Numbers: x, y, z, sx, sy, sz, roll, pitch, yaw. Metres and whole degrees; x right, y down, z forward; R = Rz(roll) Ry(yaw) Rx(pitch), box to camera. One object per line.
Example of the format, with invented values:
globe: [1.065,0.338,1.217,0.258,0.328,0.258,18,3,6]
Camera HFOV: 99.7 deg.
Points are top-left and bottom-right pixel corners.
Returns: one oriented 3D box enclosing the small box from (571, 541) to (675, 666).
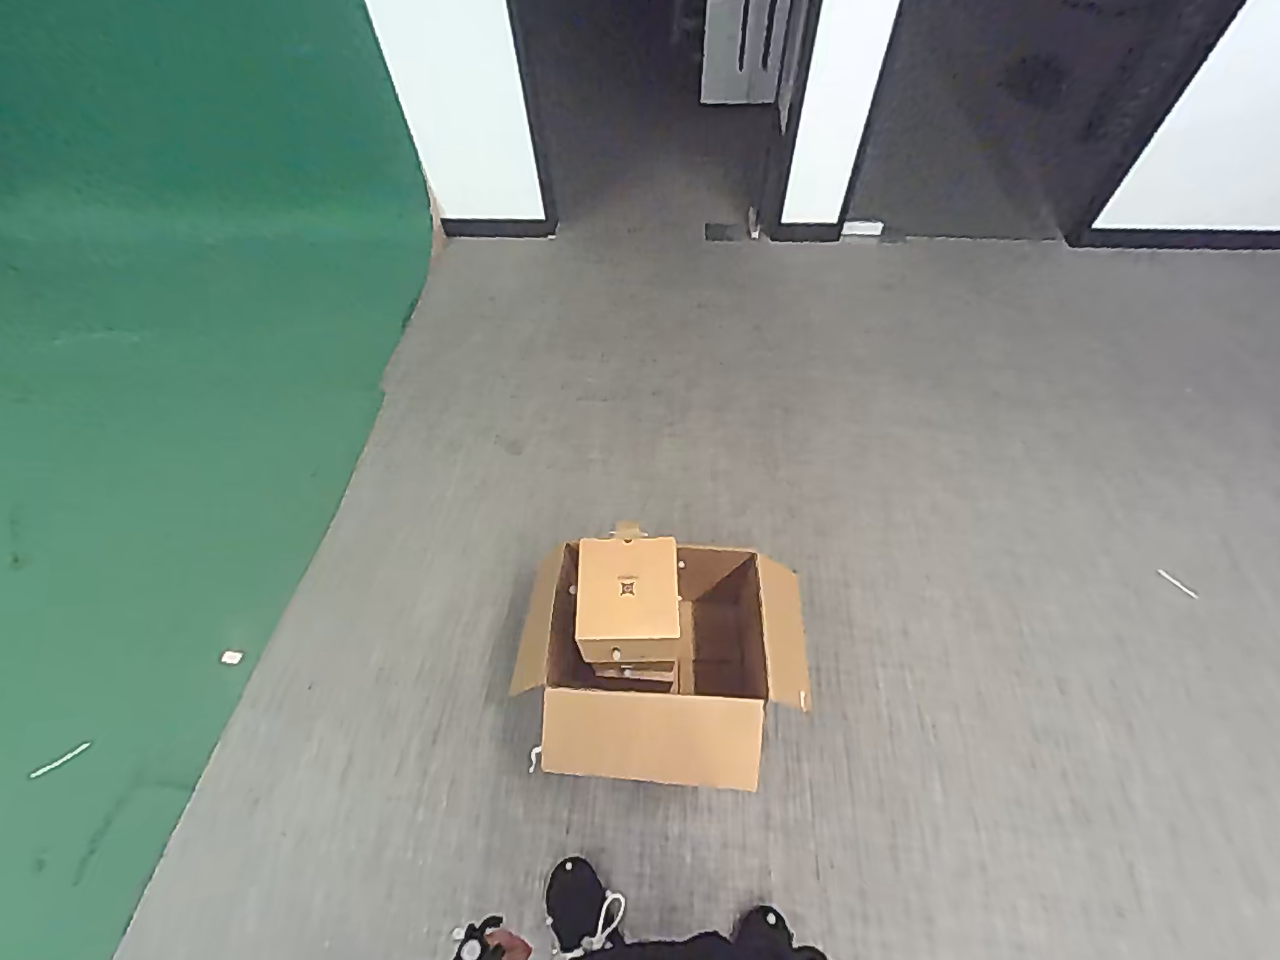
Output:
small box: [-0.024,0.221,0.941,0.168,0.176,0.179,-1,58,0]

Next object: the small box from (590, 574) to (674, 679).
small box: [-0.018,0.291,1.087,0.168,0.176,0.179,1,59,1]
